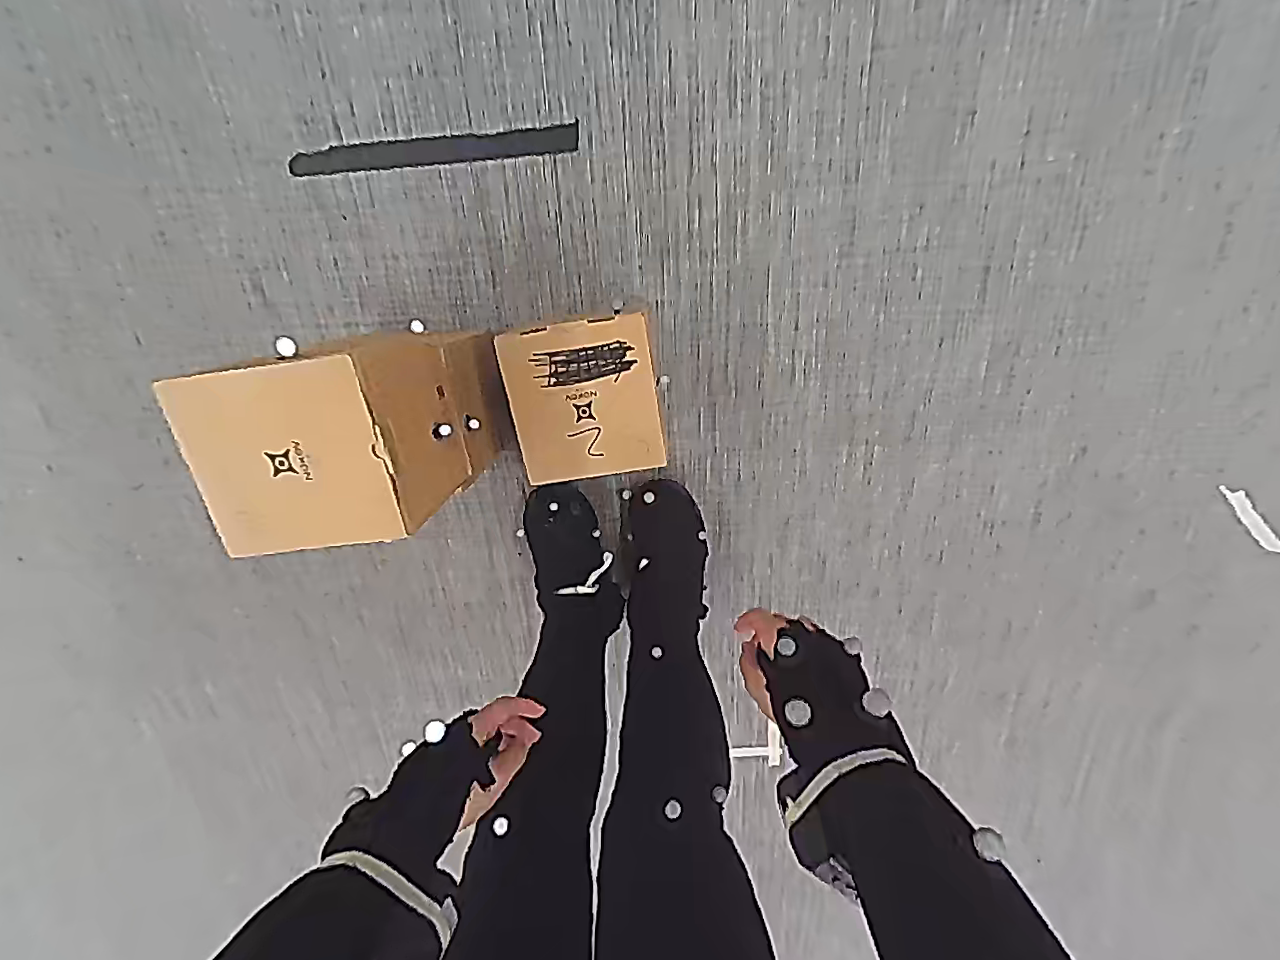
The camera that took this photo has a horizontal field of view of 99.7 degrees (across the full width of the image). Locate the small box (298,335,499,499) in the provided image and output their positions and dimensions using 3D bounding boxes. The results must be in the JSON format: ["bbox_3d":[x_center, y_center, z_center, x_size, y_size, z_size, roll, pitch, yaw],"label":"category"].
[{"bbox_3d":[-0.288,-0.086,0.689,0.168,0.176,0.179,-1,110,2],"label":"small box"}]

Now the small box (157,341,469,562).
[{"bbox_3d":[-0.296,-0.037,0.534,0.179,0.176,0.168,-7,110,4],"label":"small box"}]
